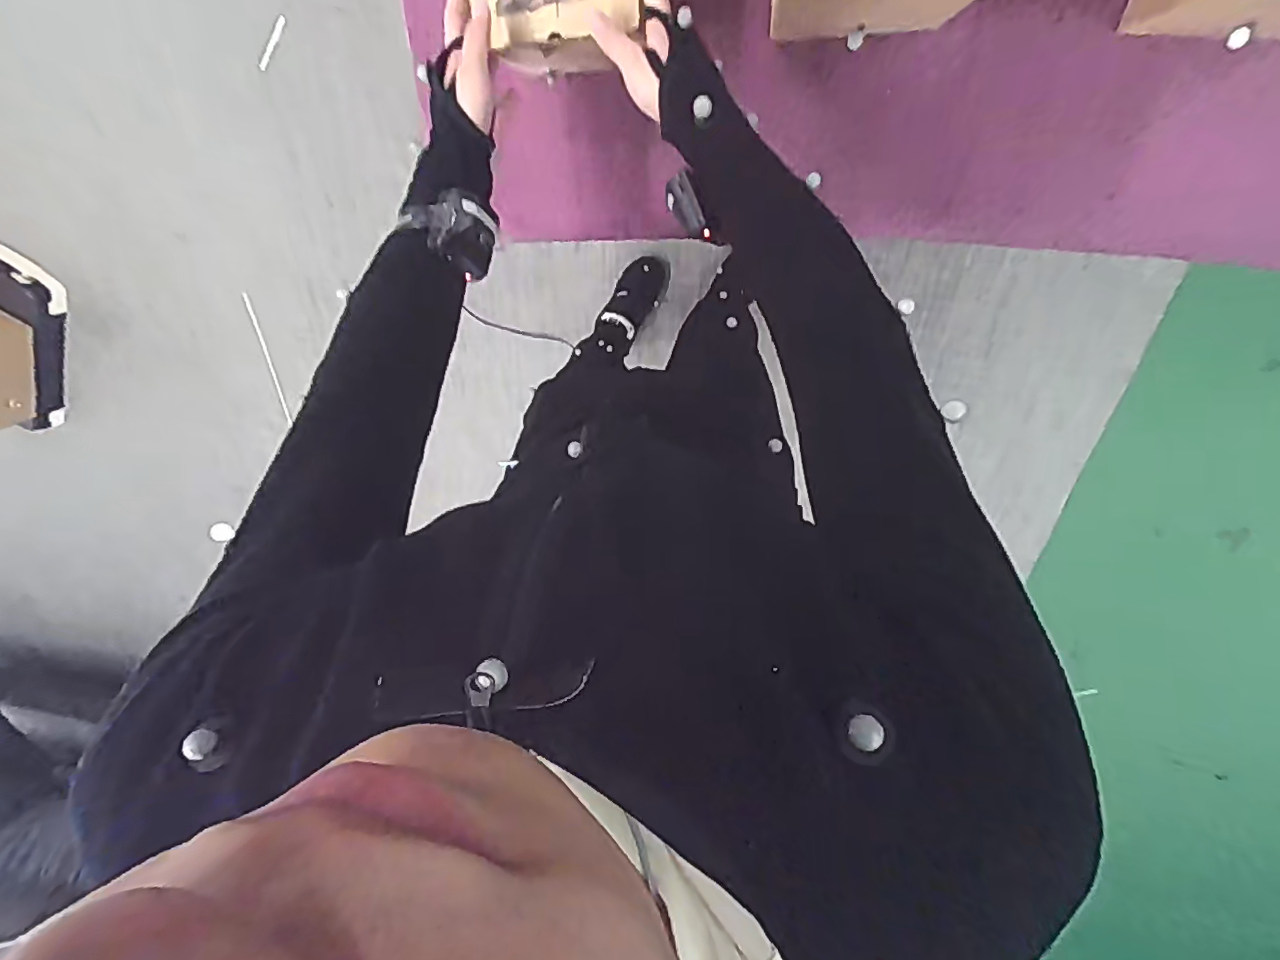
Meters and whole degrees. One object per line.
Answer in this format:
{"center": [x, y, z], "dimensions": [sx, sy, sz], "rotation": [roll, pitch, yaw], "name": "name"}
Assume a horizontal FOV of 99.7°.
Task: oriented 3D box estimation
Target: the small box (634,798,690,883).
{"center": [0.079, 1.263, 1.900], "dimensions": [0.168, 0.176, 0.179], "rotation": [9, 120, 8], "name": "small box"}

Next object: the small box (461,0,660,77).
{"center": [-0.073, -0.517, 0.533], "dimensions": [0.168, 0.176, 0.179], "rotation": [2, 119, 10], "name": "small box"}

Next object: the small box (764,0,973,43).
{"center": [0.207, -0.511, 0.480], "dimensions": [0.179, 0.176, 0.168], "rotation": [3, 120, 10], "name": "small box"}

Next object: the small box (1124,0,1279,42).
{"center": [0.548, -0.477, 0.427], "dimensions": [0.168, 0.176, 0.179], "rotation": [9, 121, 7], "name": "small box"}
